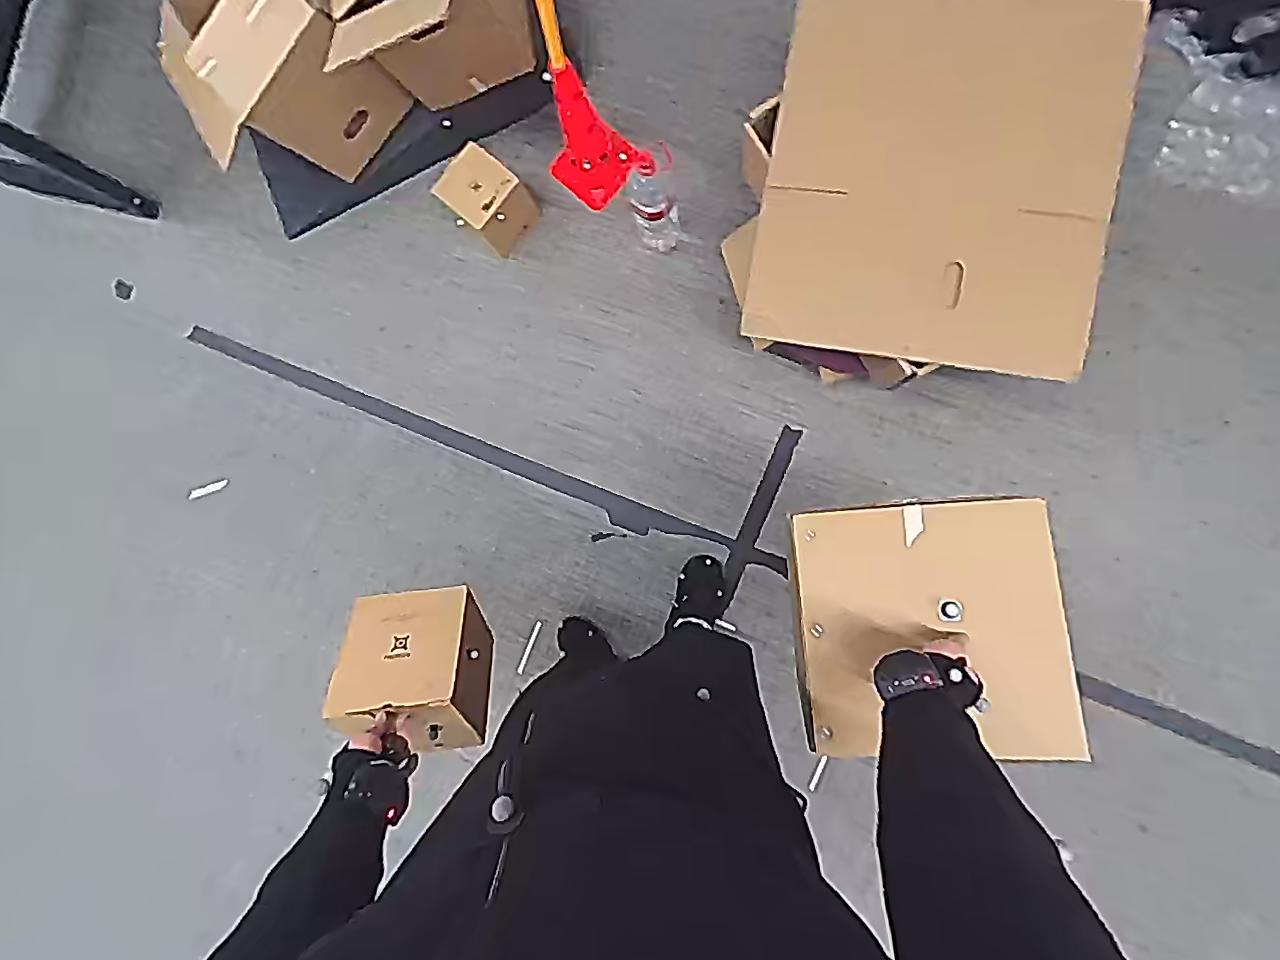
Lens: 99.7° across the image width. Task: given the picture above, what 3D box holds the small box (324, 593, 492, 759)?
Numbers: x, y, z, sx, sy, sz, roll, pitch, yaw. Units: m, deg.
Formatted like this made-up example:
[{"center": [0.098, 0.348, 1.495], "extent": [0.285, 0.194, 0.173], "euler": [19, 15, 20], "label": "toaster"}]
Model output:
[{"center": [-0.323, 0.293, 0.796], "extent": [0.168, 0.176, 0.179], "euler": [-6, 46, -3], "label": "small box"}]
